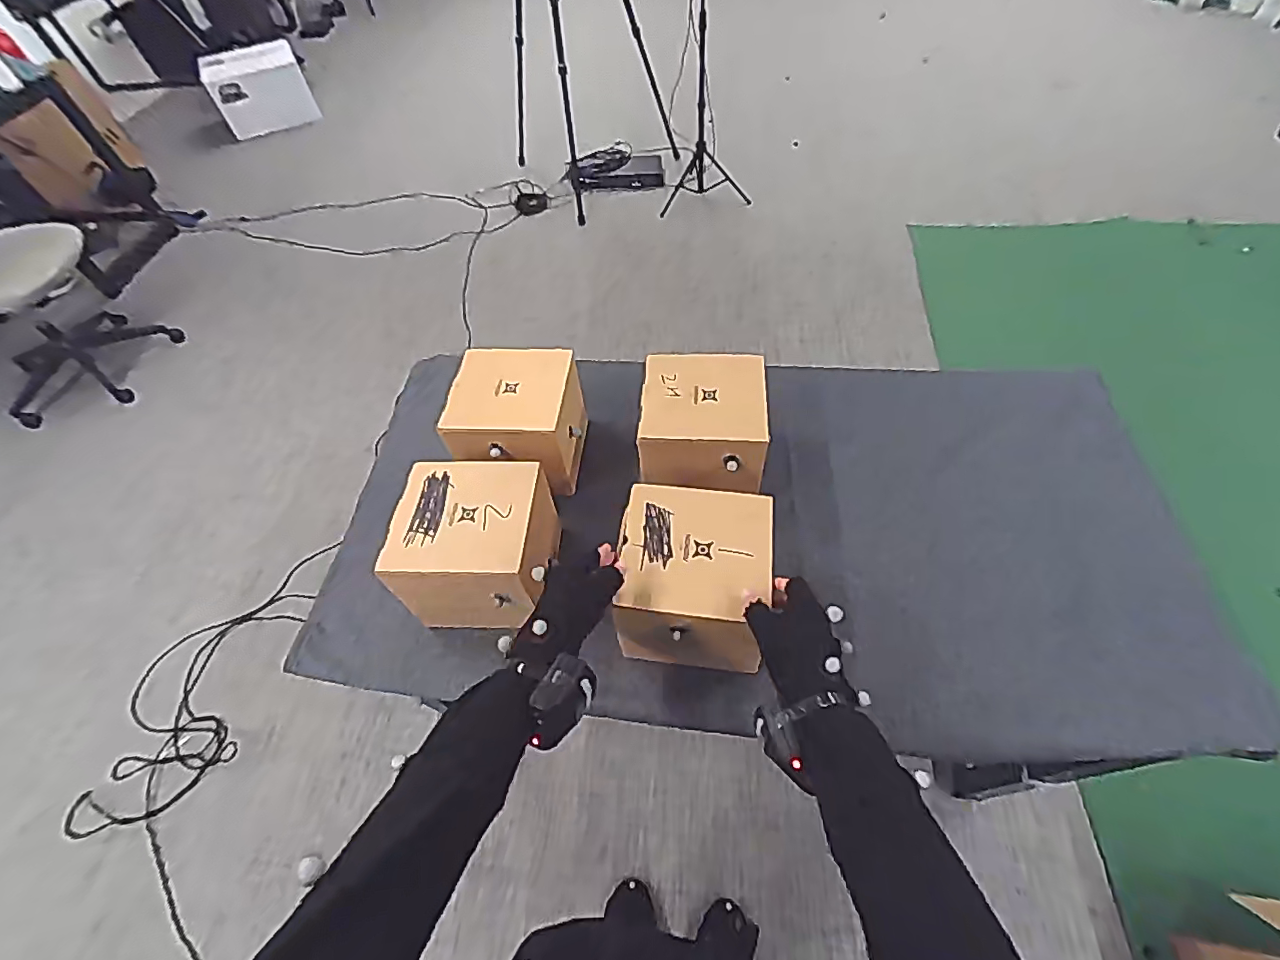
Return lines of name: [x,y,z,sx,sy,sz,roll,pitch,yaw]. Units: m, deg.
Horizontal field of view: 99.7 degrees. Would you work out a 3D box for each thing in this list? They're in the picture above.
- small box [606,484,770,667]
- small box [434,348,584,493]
small box: [0.065,0.124,0.682,0.179,0.176,0.168,5,55,8]
small box: [-0.193,-0.091,0.861,0.179,0.176,0.168,1,55,7]
